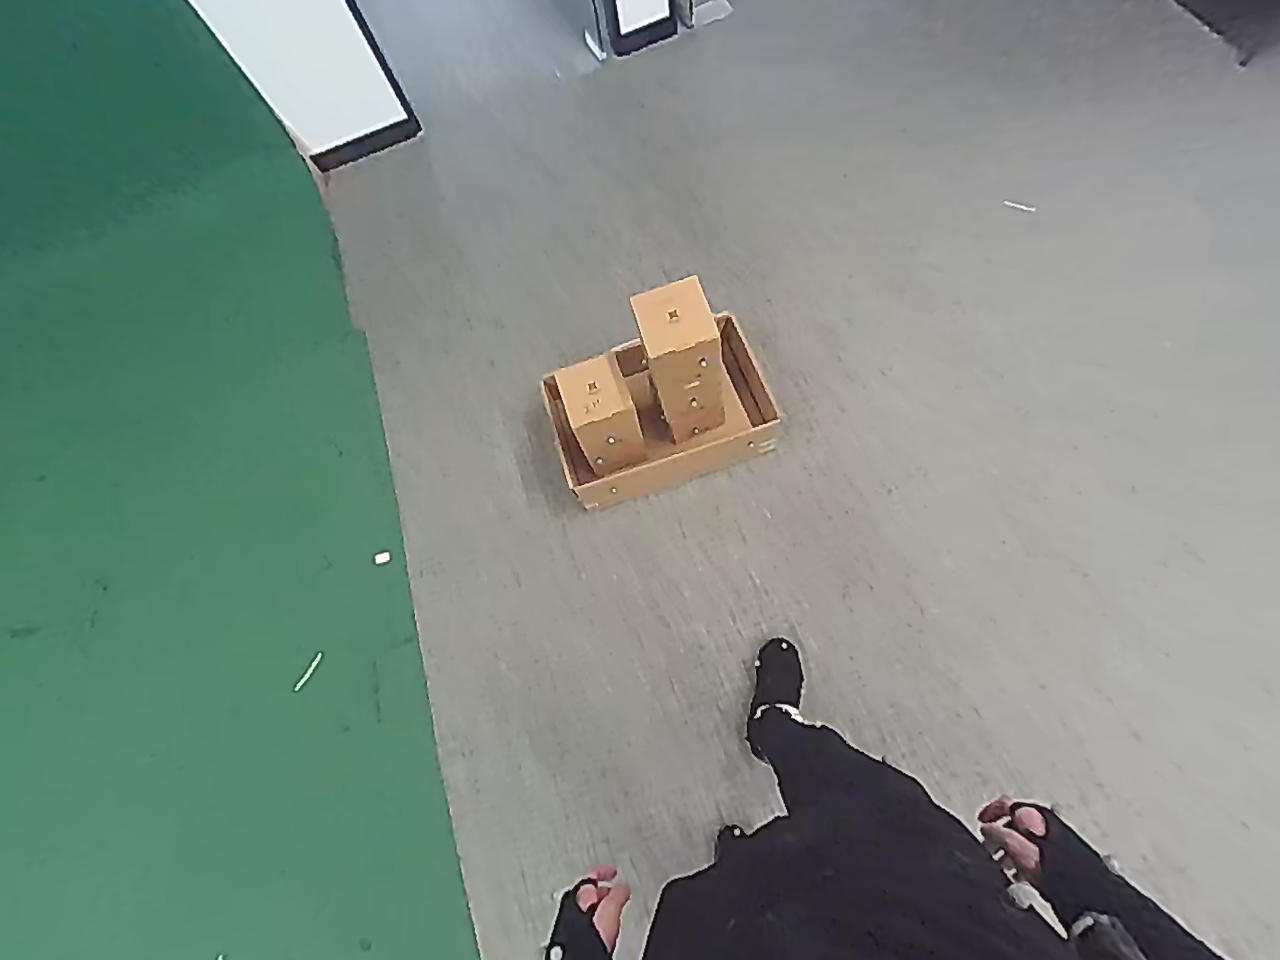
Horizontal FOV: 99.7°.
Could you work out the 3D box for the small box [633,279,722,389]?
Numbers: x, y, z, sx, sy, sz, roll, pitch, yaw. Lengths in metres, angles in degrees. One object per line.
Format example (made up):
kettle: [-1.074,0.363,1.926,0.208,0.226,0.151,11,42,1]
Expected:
small box: [0.095,-0.336,1.287,0.168,0.176,0.179,-17,68,3]

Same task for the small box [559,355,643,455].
small box: [-0.100,-0.194,1.432,0.168,0.176,0.179,-19,67,0]
